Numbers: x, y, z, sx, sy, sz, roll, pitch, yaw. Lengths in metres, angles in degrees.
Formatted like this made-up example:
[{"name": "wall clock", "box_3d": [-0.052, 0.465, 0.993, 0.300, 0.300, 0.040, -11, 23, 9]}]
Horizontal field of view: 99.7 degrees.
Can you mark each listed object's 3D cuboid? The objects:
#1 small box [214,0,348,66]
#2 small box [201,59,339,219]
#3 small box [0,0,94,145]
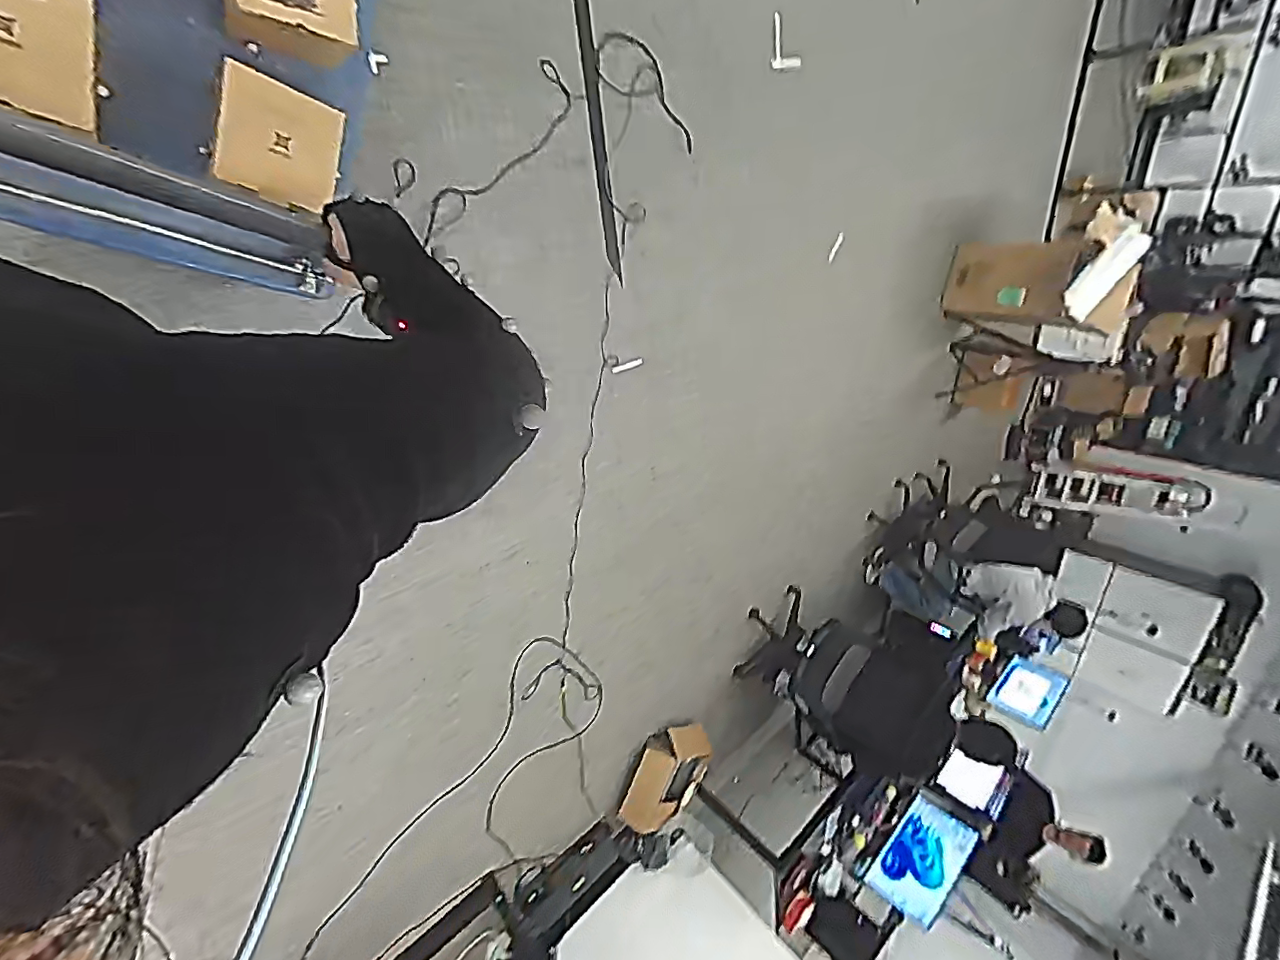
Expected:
[{"name": "small box", "box_3d": [-0.593, -0.819, 0.885, 0.168, 0.176, 0.179, -11, 113, -40]}, {"name": "small box", "box_3d": [-0.647, -0.572, 0.940, 0.168, 0.176, 0.179, 5, 103, -45]}, {"name": "small box", "box_3d": [-0.861, -0.584, 0.733, 0.168, 0.176, 0.179, 0, 108, -44]}]
